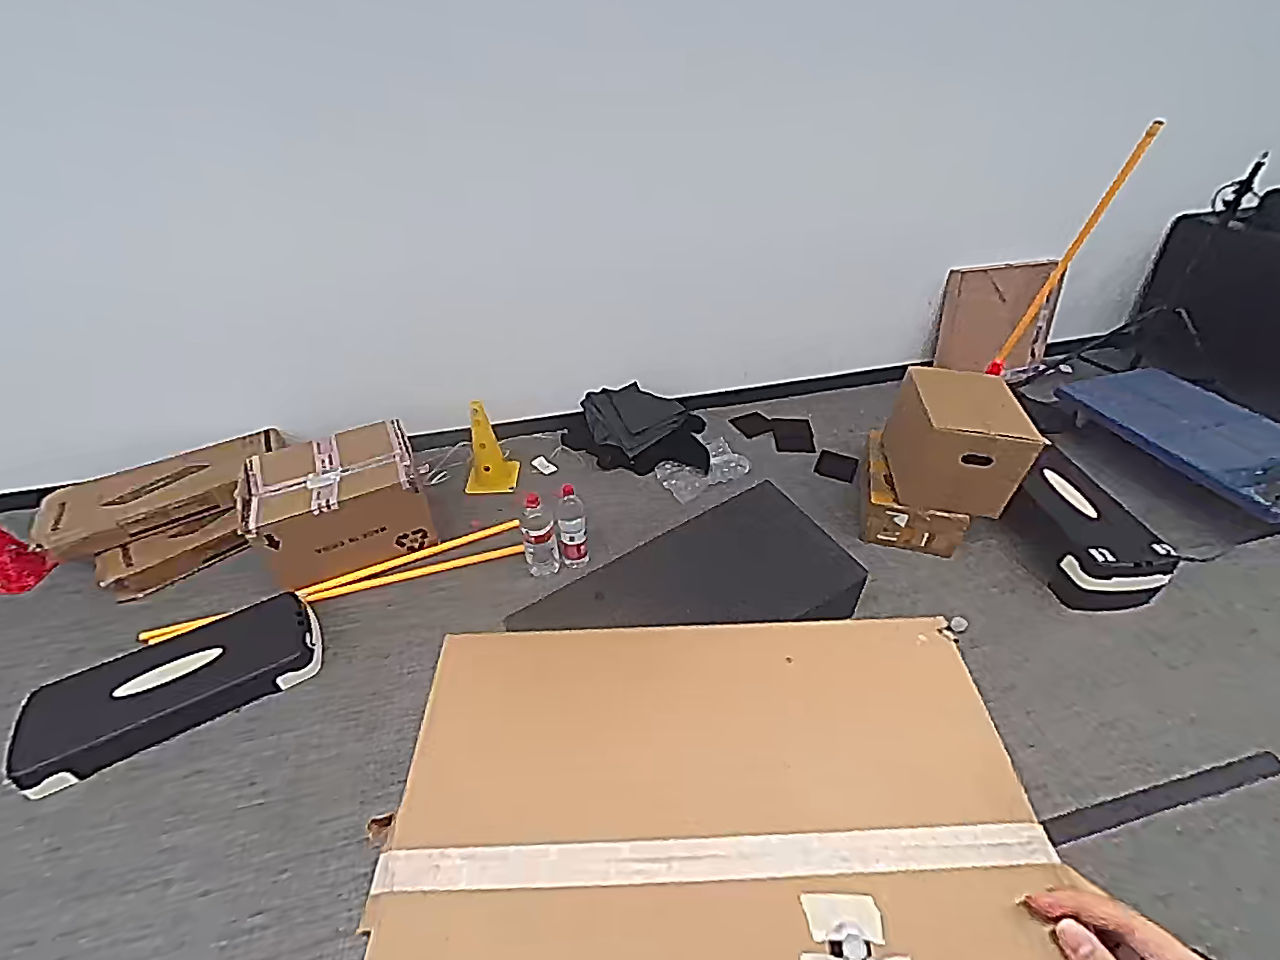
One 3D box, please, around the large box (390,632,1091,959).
[{"bbox_3d":[0.054,0.347,0.440,0.408,0.320,0.320,-2,46,-1],"label":"large box"}]
